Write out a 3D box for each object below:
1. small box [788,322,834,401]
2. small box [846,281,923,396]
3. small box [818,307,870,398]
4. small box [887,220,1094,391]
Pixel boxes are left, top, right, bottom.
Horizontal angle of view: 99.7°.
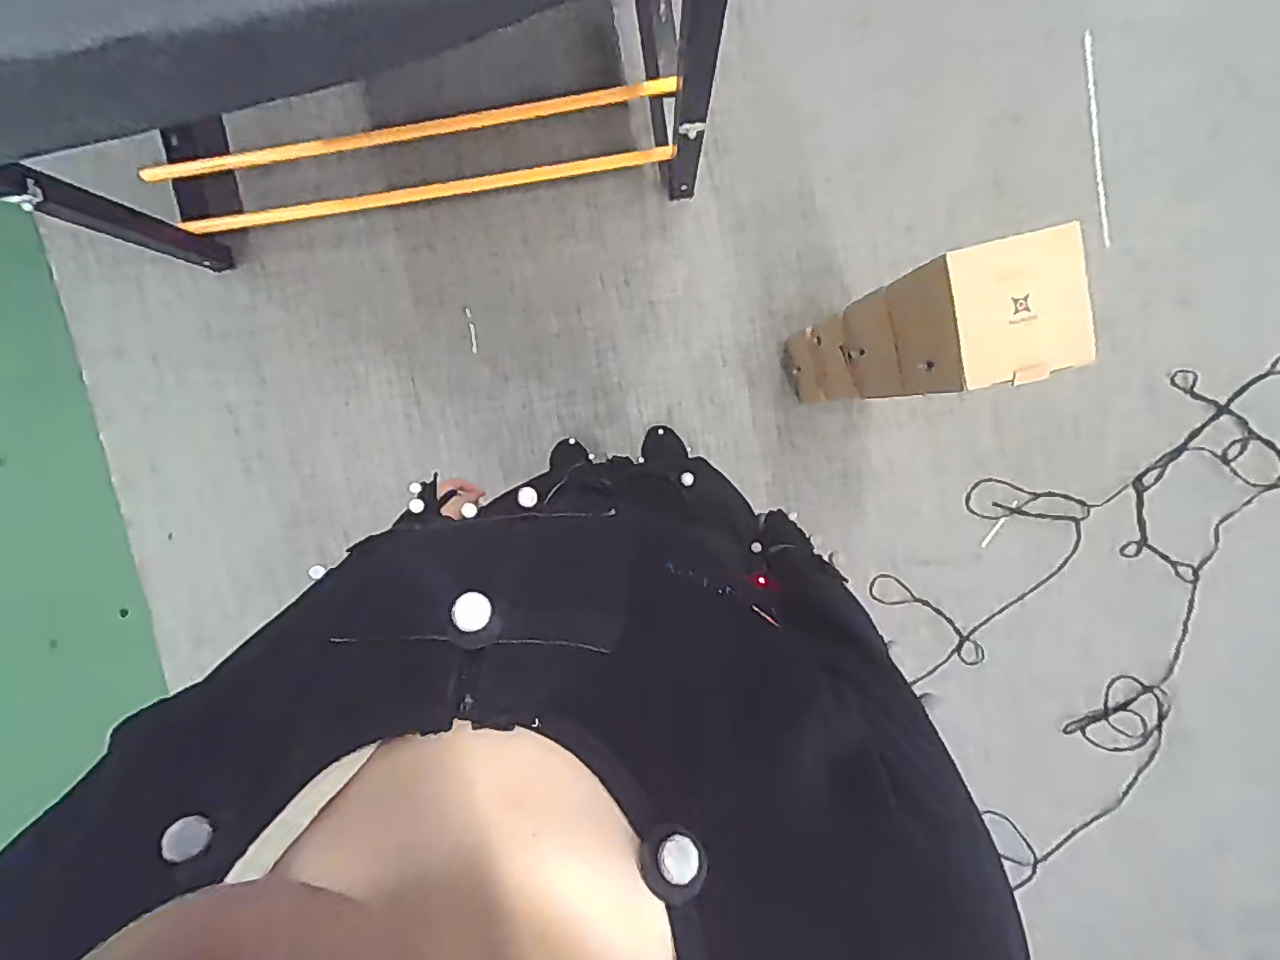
[{"bbox_3d":[0.456,-0.280,1.231,0.179,0.176,0.168,-14,96,3],"label":"small box"},{"bbox_3d":[0.466,-0.244,0.905,0.168,0.176,0.179,-13,97,2],"label":"small box"},{"bbox_3d":[0.465,-0.262,1.067,0.179,0.176,0.168,-14,97,2],"label":"small box"},{"bbox_3d":[0.467,-0.223,0.743,0.168,0.176,0.179,-13,96,2],"label":"small box"}]
